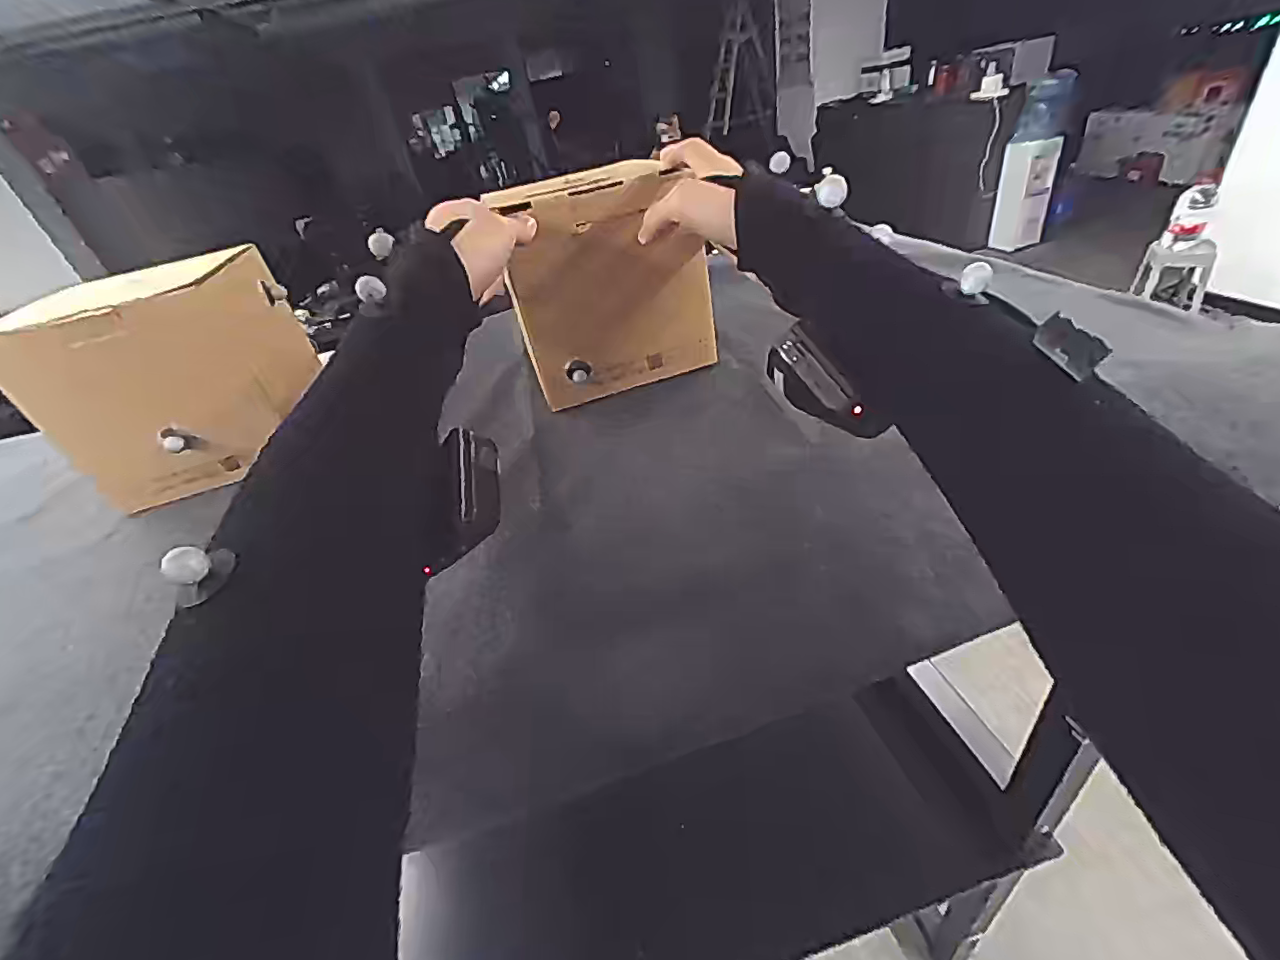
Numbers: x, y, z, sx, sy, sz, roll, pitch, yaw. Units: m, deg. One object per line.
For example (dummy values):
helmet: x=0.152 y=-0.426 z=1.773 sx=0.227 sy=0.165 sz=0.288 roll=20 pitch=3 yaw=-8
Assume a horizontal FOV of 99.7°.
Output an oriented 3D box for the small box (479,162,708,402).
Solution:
small box: x=-0.044 y=-0.191 z=0.524 sx=0.168 sy=0.176 sz=0.179 roll=-18 pitch=35 yaw=-8

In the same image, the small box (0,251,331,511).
small box: x=-0.426 y=-0.099 z=0.516 sx=0.168 sy=0.176 sz=0.179 roll=-19 pitch=37 yaw=-8
